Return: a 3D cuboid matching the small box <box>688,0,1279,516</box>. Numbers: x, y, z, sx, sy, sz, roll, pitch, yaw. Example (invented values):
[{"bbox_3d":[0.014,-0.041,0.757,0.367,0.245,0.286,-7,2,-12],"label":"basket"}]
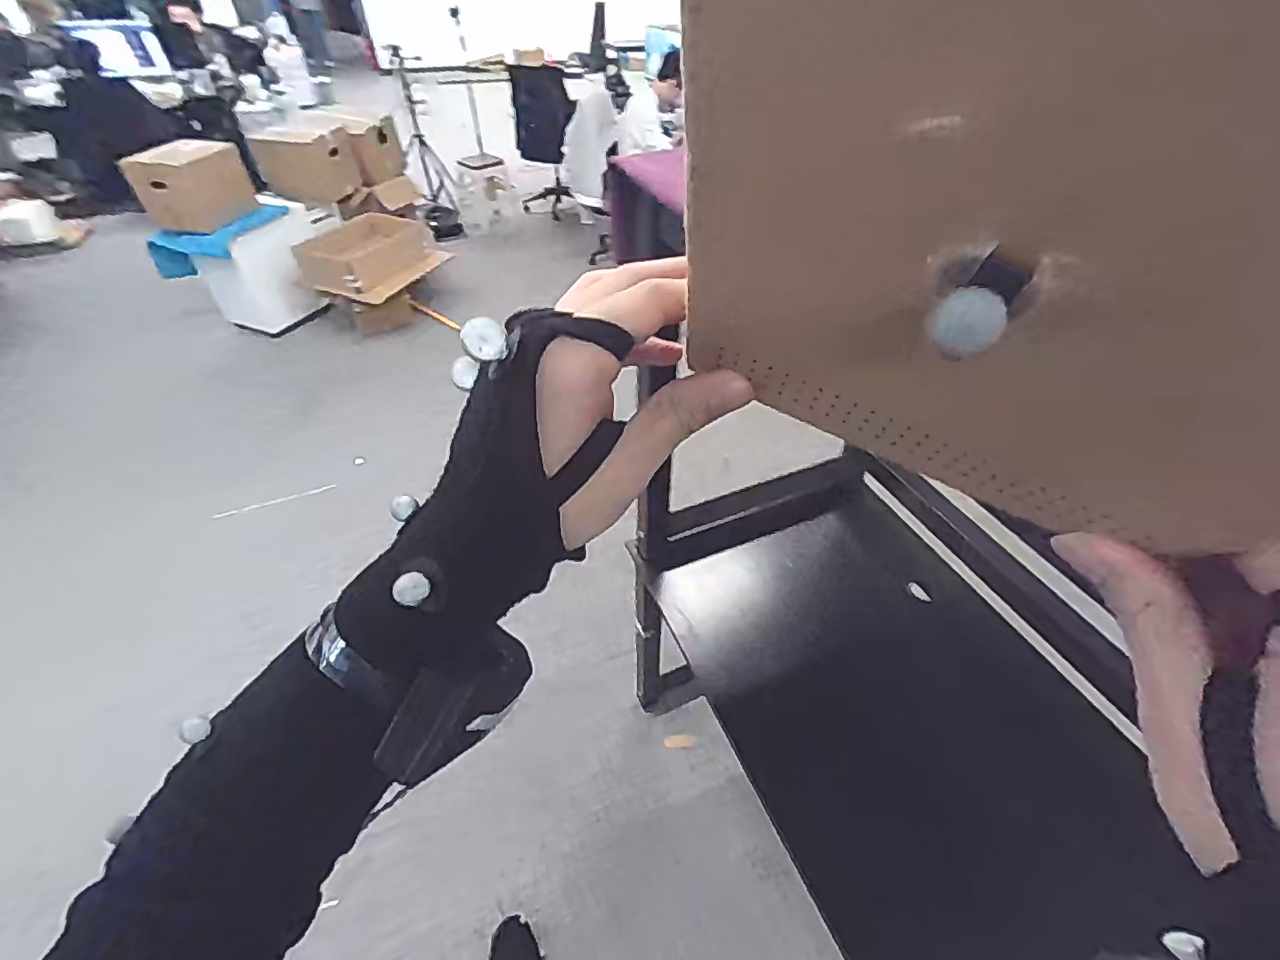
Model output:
[{"bbox_3d":[0.121,-0.105,0.152,0.179,0.176,0.168,25,79,12],"label":"small box"}]
